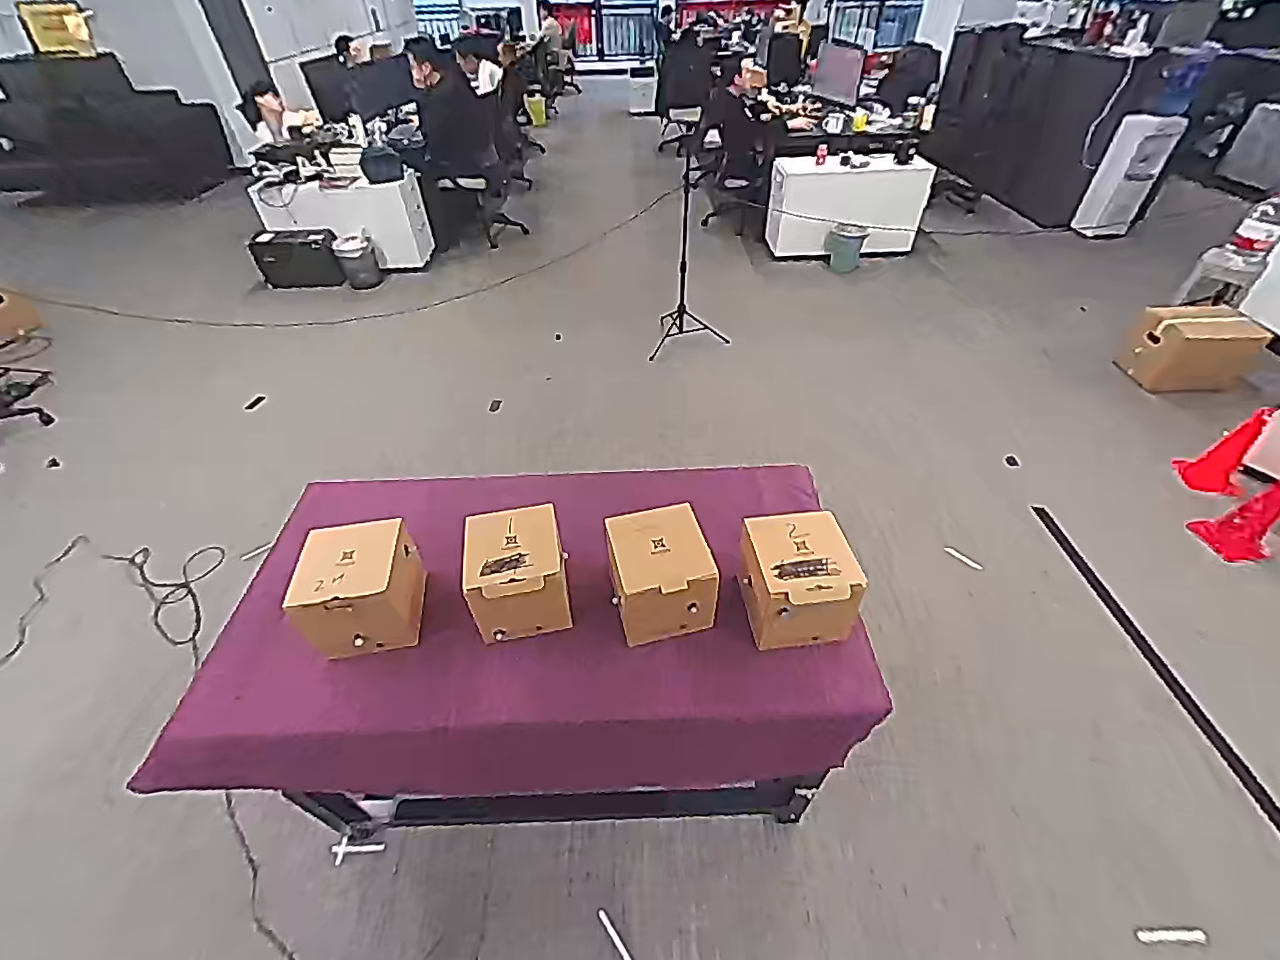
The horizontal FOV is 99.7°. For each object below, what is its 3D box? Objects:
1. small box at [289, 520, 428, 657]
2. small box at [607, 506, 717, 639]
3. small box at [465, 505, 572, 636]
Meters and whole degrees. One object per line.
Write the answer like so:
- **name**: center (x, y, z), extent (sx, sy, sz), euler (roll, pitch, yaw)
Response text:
- **small box**: center (-0.506, 0.200, 1.005), extent (0.168, 0.176, 0.179), euler (-8, 44, -6)
- **small box**: center (0.037, 0.178, 1.014), extent (0.168, 0.176, 0.179), euler (-10, 43, -9)
- **small box**: center (-0.225, 0.177, 1.022), extent (0.168, 0.176, 0.179), euler (-9, 43, -7)
